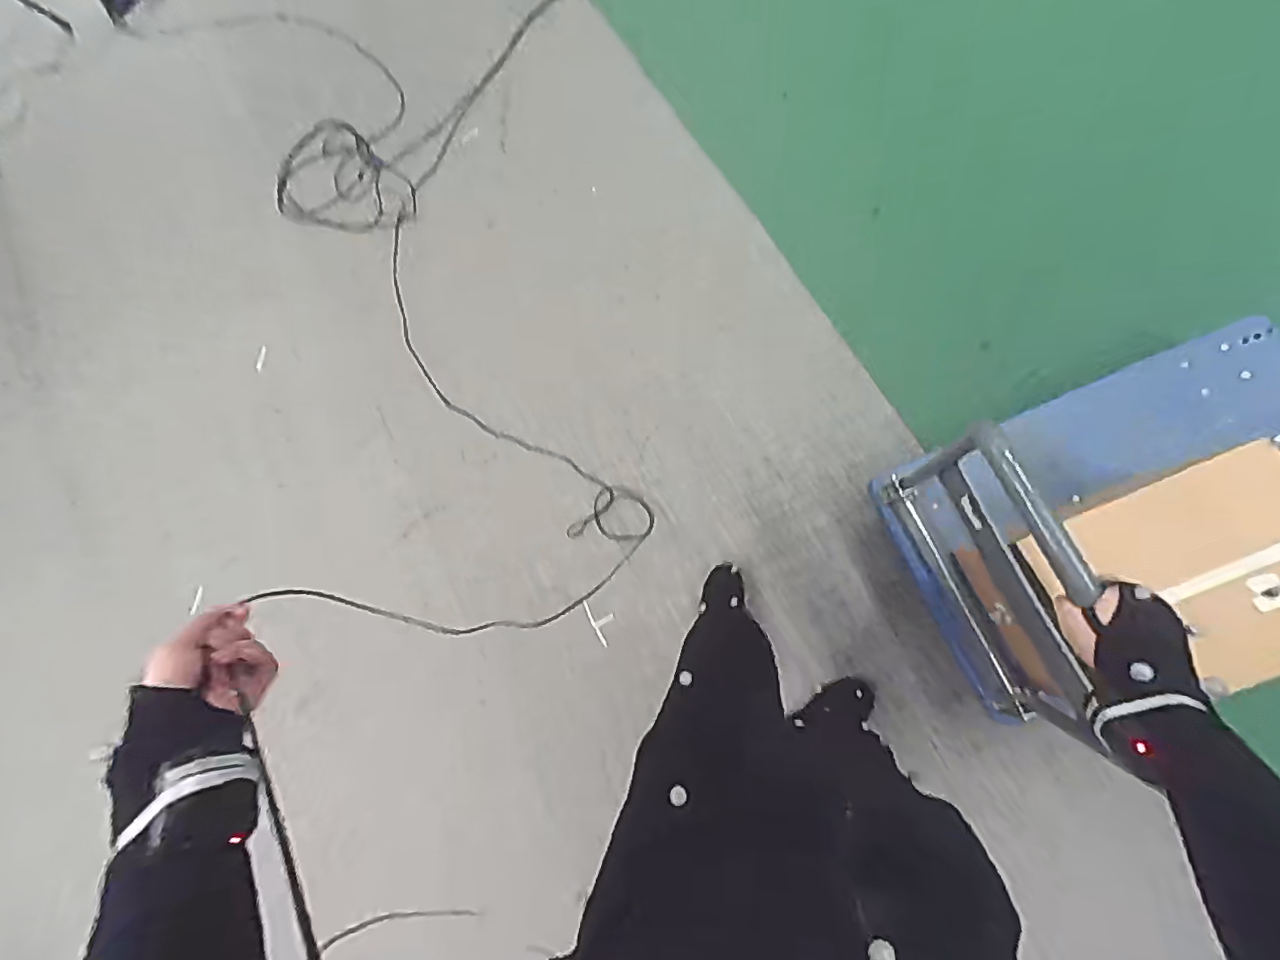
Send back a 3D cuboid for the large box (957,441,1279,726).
[{"bbox_3d":[0.893,0.186,0.984,0.408,0.320,0.320,-26,75,7],"label":"large box"}]
